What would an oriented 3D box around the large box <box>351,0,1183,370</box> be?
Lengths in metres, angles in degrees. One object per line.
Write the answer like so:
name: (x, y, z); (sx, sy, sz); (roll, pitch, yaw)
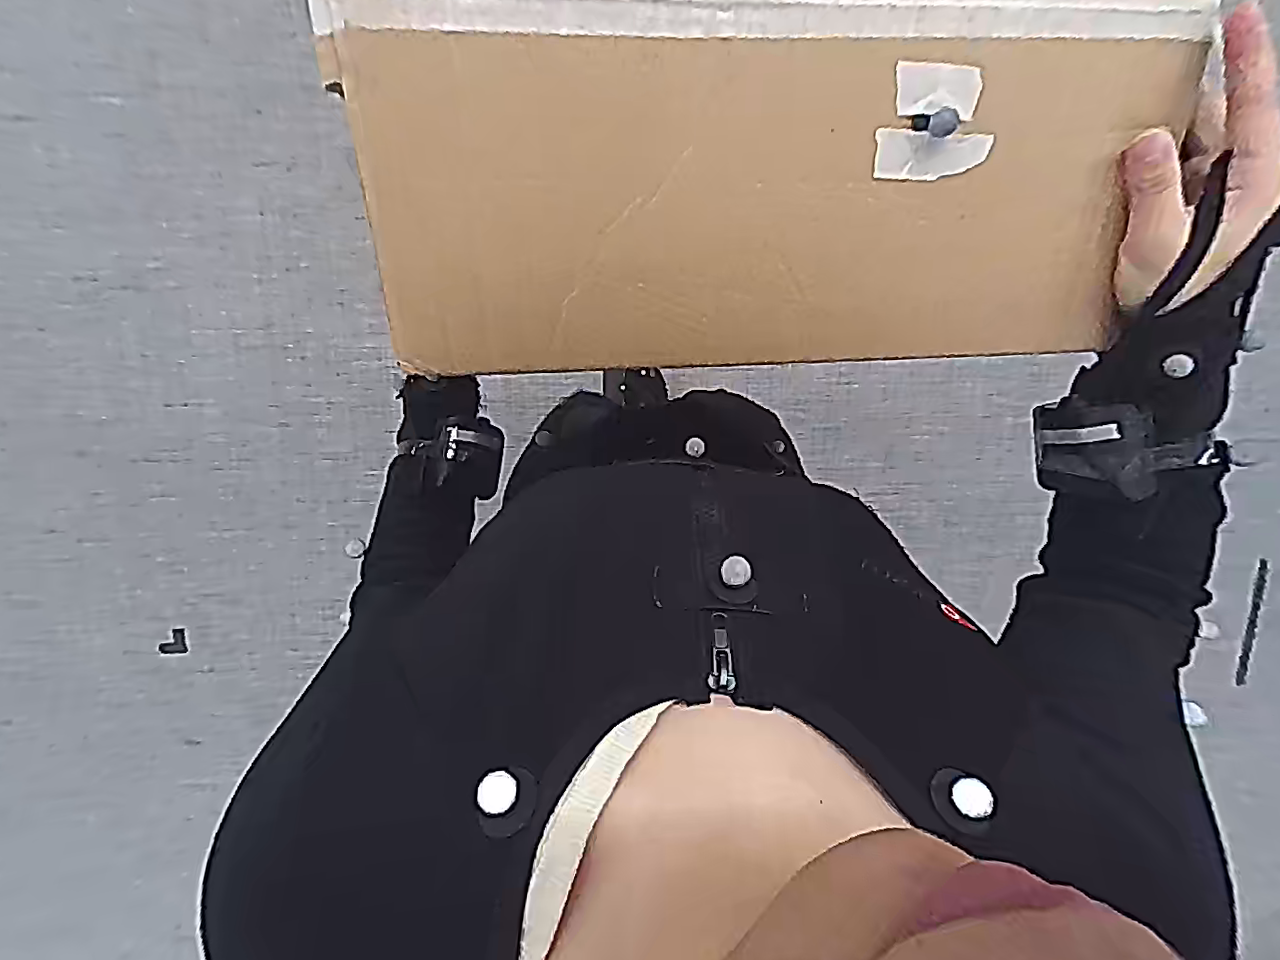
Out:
large box: (0.052, -0.271, 0.389); (0.408, 0.320, 0.320); (-4, 113, -6)
